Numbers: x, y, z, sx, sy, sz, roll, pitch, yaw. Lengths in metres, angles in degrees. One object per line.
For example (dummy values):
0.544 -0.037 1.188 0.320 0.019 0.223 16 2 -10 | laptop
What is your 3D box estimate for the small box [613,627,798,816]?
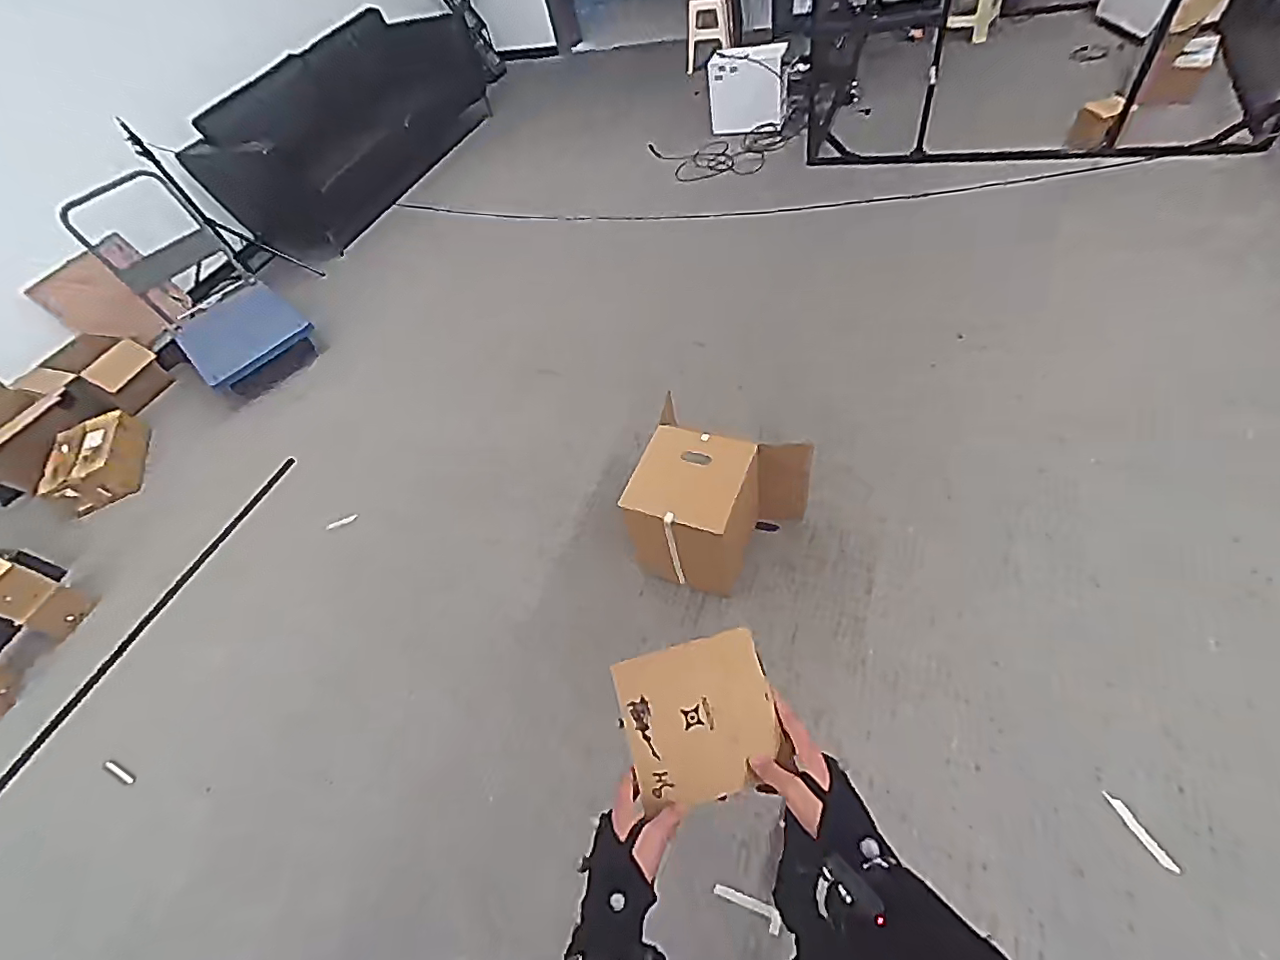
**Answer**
0.075 0.300 0.686 0.179 0.176 0.168 -16 65 -2 | small box
